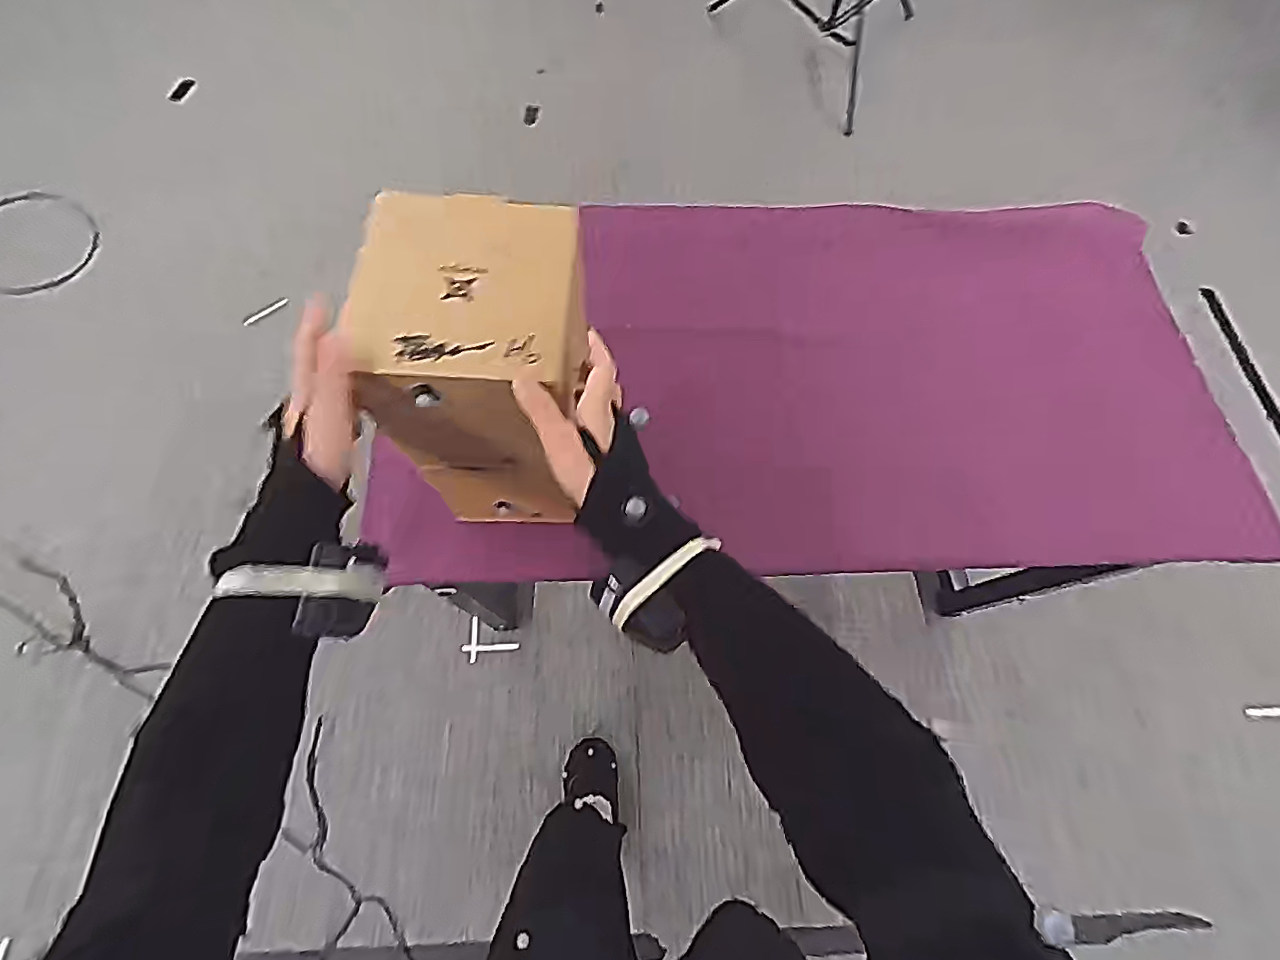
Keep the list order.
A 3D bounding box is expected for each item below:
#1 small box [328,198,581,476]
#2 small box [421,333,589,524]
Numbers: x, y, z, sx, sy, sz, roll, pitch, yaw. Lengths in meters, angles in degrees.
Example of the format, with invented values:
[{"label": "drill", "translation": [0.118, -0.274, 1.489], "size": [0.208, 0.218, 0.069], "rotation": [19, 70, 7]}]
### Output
[{"label": "small box", "translation": [-0.144, -0.120, 0.494], "size": [0.168, 0.176, 0.179], "rotation": [3, 67, -2]}, {"label": "small box", "translation": [-0.148, -0.058, 0.646], "size": [0.168, 0.176, 0.179], "rotation": [1, 68, -3]}]
